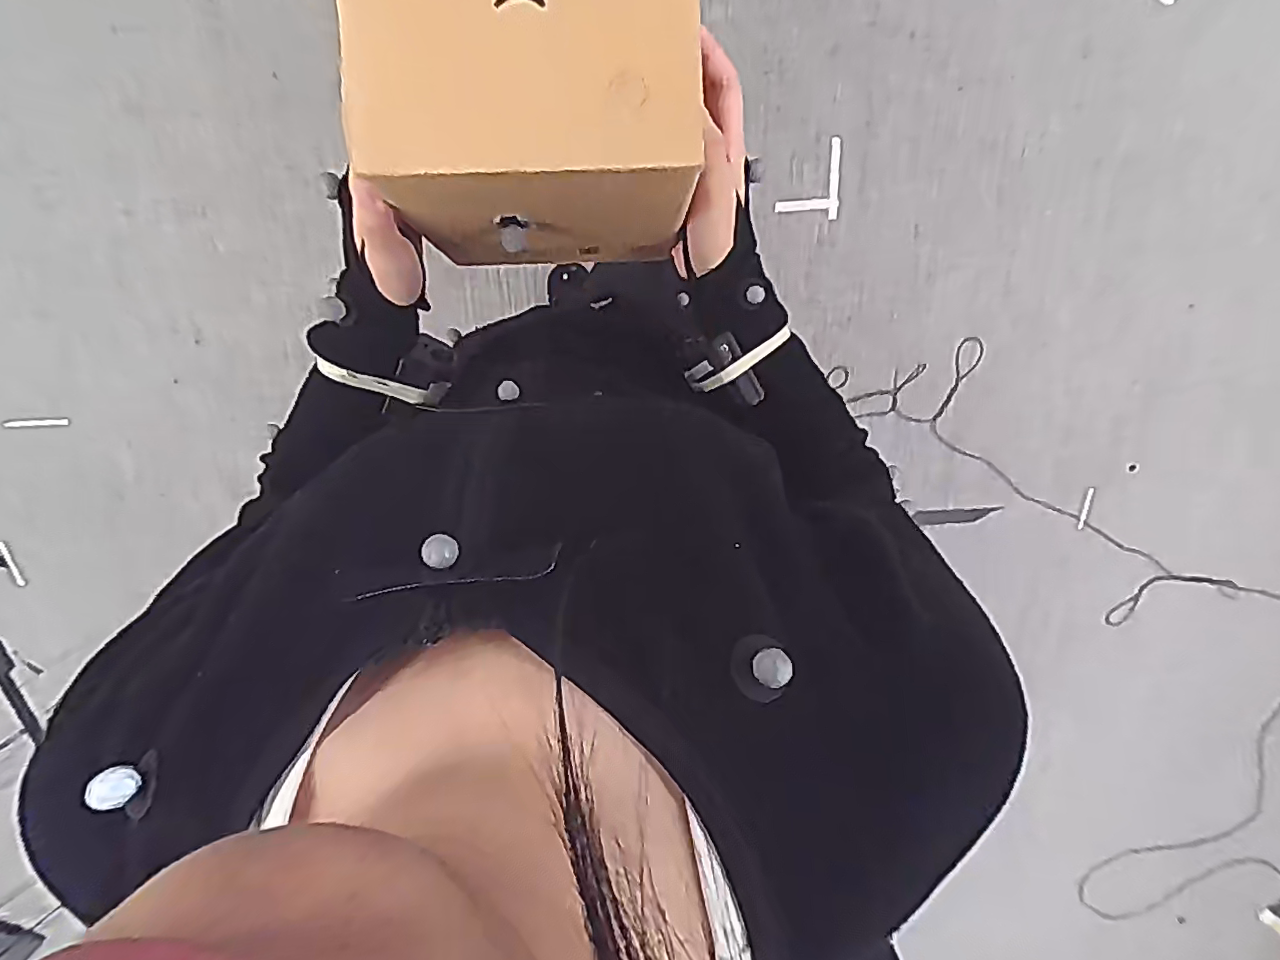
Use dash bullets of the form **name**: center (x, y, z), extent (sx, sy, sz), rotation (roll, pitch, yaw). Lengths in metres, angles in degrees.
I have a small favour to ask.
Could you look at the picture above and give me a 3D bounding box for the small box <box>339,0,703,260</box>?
- **small box**: center (-0.056, -0.239, 0.322), extent (0.168, 0.176, 0.179), rotation (-3, 97, -2)
